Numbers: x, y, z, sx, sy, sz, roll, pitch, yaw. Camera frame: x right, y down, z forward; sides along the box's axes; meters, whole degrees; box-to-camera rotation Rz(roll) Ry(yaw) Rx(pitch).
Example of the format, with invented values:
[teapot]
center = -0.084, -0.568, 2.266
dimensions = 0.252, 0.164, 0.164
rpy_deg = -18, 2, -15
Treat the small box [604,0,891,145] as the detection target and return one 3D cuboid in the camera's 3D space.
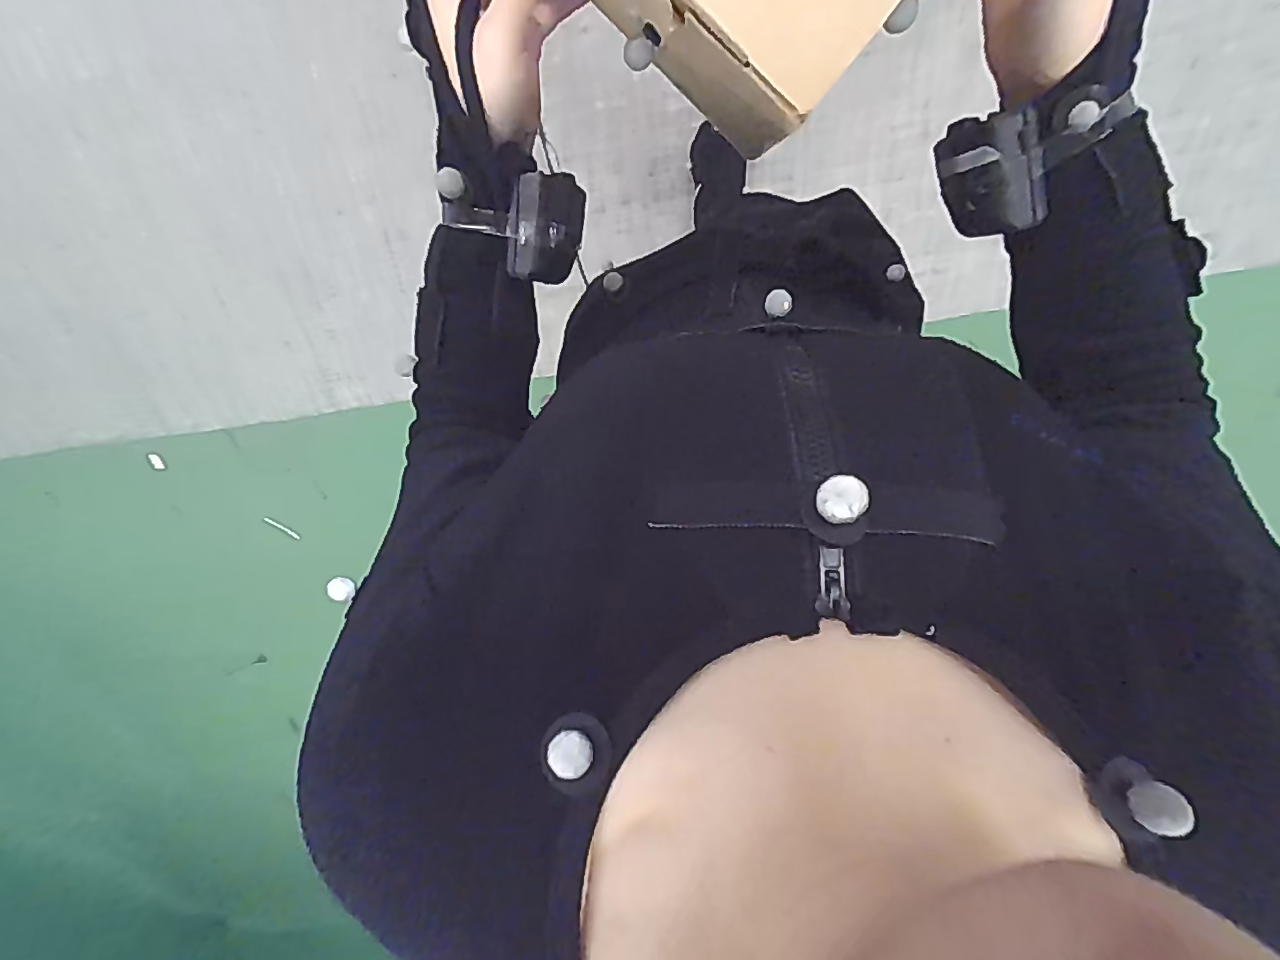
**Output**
[small box]
center = 0.061, -0.285, 0.240
dimensions = 0.168, 0.176, 0.179
rpy_deg = 37, 114, -13
